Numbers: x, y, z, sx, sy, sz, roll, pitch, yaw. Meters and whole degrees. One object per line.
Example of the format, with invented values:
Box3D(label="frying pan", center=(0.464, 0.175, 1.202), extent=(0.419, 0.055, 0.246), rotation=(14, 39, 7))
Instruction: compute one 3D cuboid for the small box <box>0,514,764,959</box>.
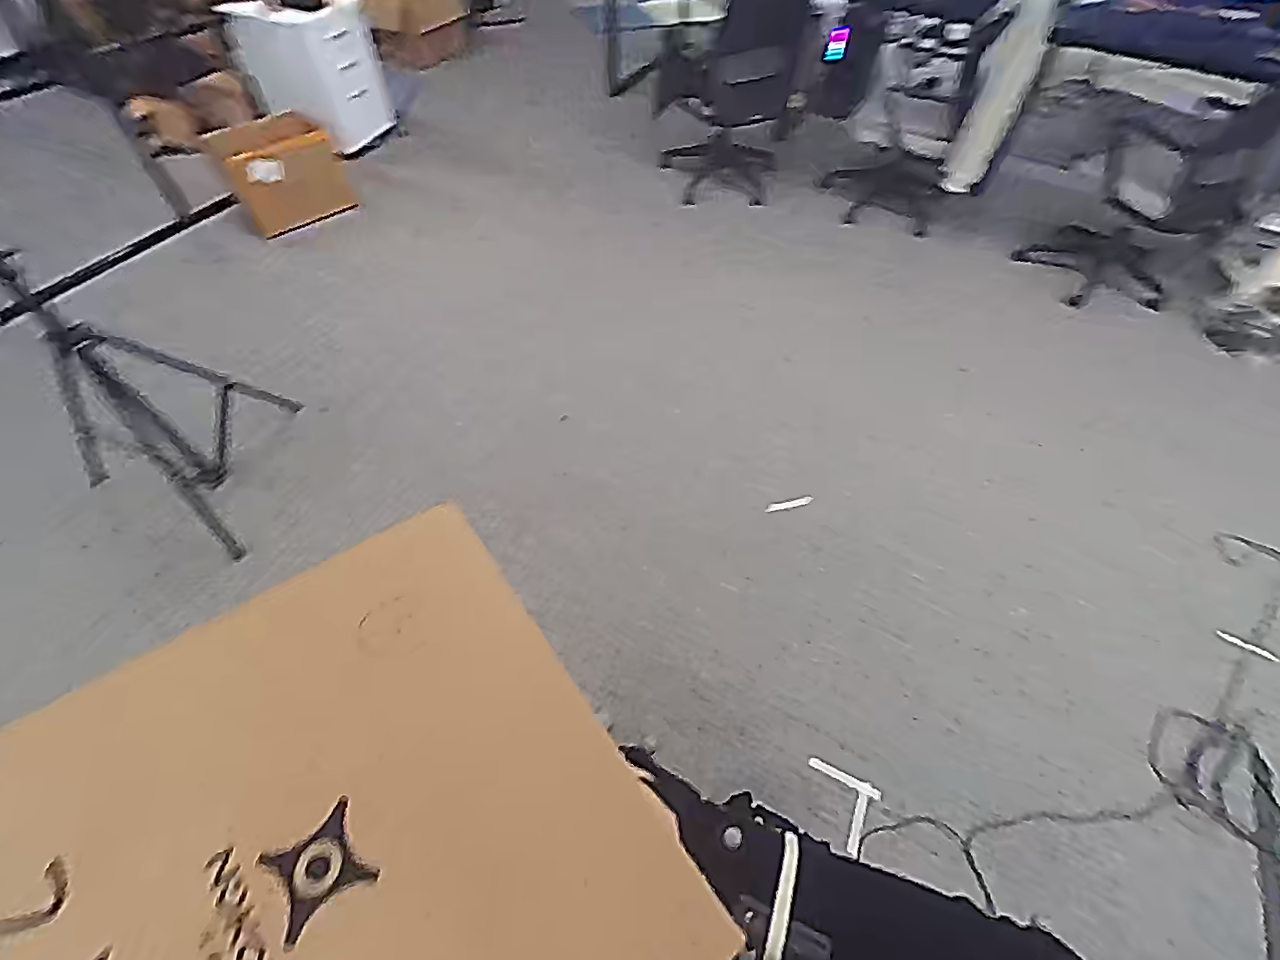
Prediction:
Box3D(label="small box", center=(-0.089, 0.150, 0.207), extent=(0.179, 0.176, 0.168), rotation=(-31, 64, -23))
